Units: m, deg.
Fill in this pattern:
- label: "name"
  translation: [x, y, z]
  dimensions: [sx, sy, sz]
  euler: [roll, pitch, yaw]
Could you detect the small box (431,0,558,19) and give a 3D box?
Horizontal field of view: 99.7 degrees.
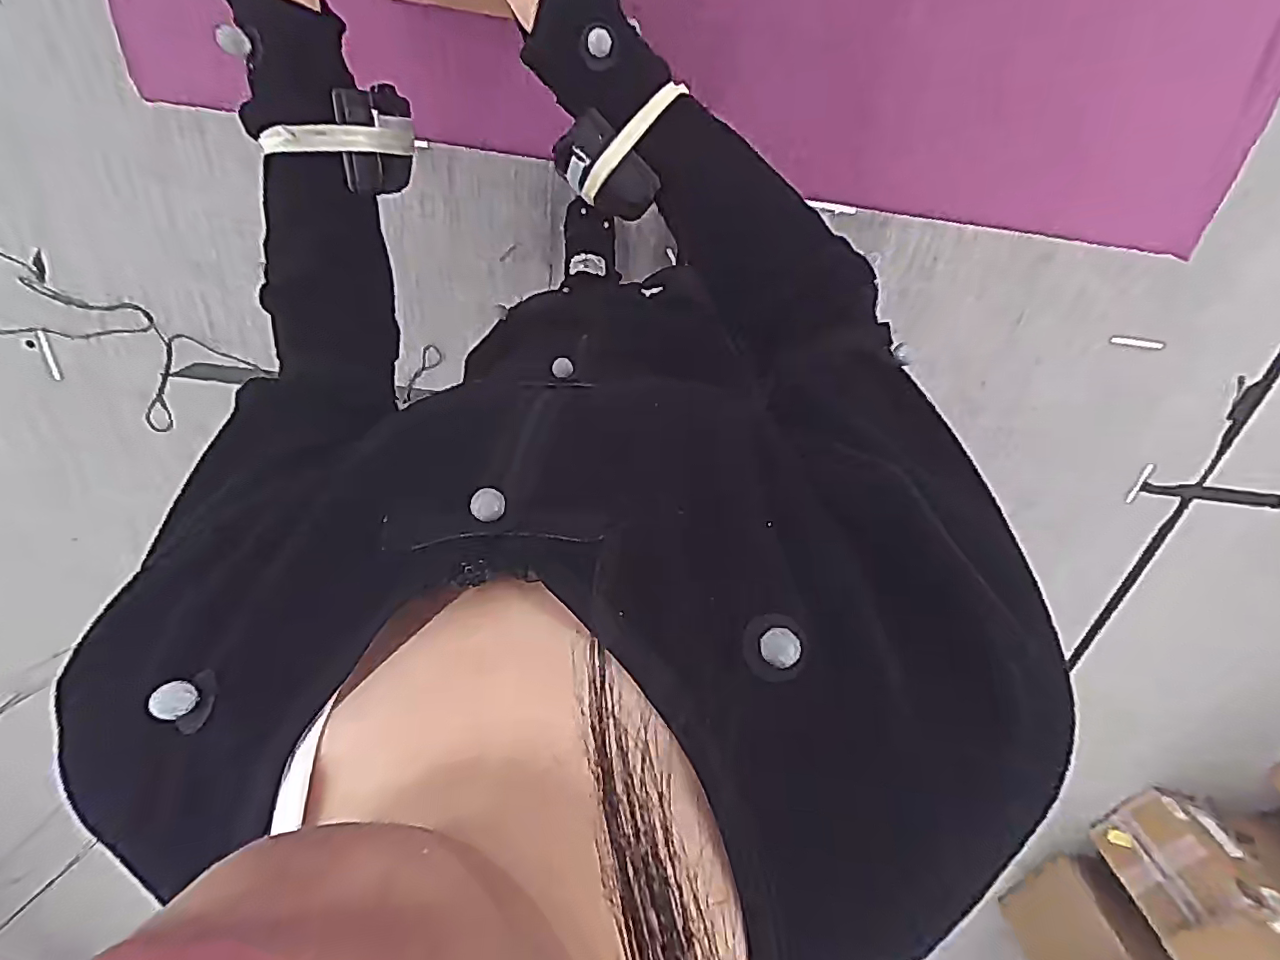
- label: "small box"
  translation: [-0.148, -0.497, 0.426]
  dimensions: [0.179, 0.176, 0.168]
  euler: [6, 118, -5]
